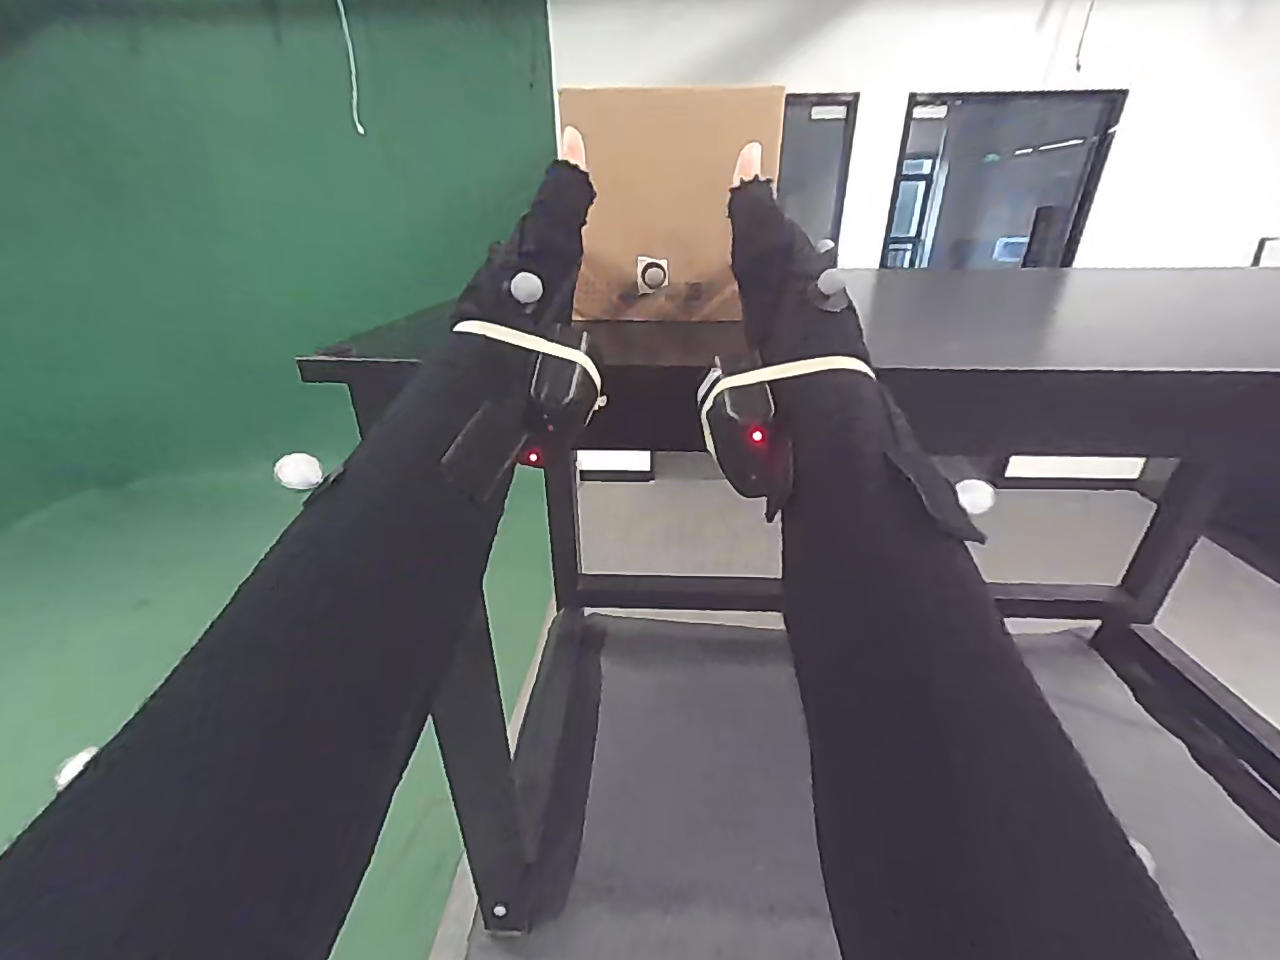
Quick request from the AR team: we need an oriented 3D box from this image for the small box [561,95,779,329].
[{"bbox_3d":[0.024,-0.244,0.508,0.168,0.176,0.179,0,27,1],"label":"small box"}]
